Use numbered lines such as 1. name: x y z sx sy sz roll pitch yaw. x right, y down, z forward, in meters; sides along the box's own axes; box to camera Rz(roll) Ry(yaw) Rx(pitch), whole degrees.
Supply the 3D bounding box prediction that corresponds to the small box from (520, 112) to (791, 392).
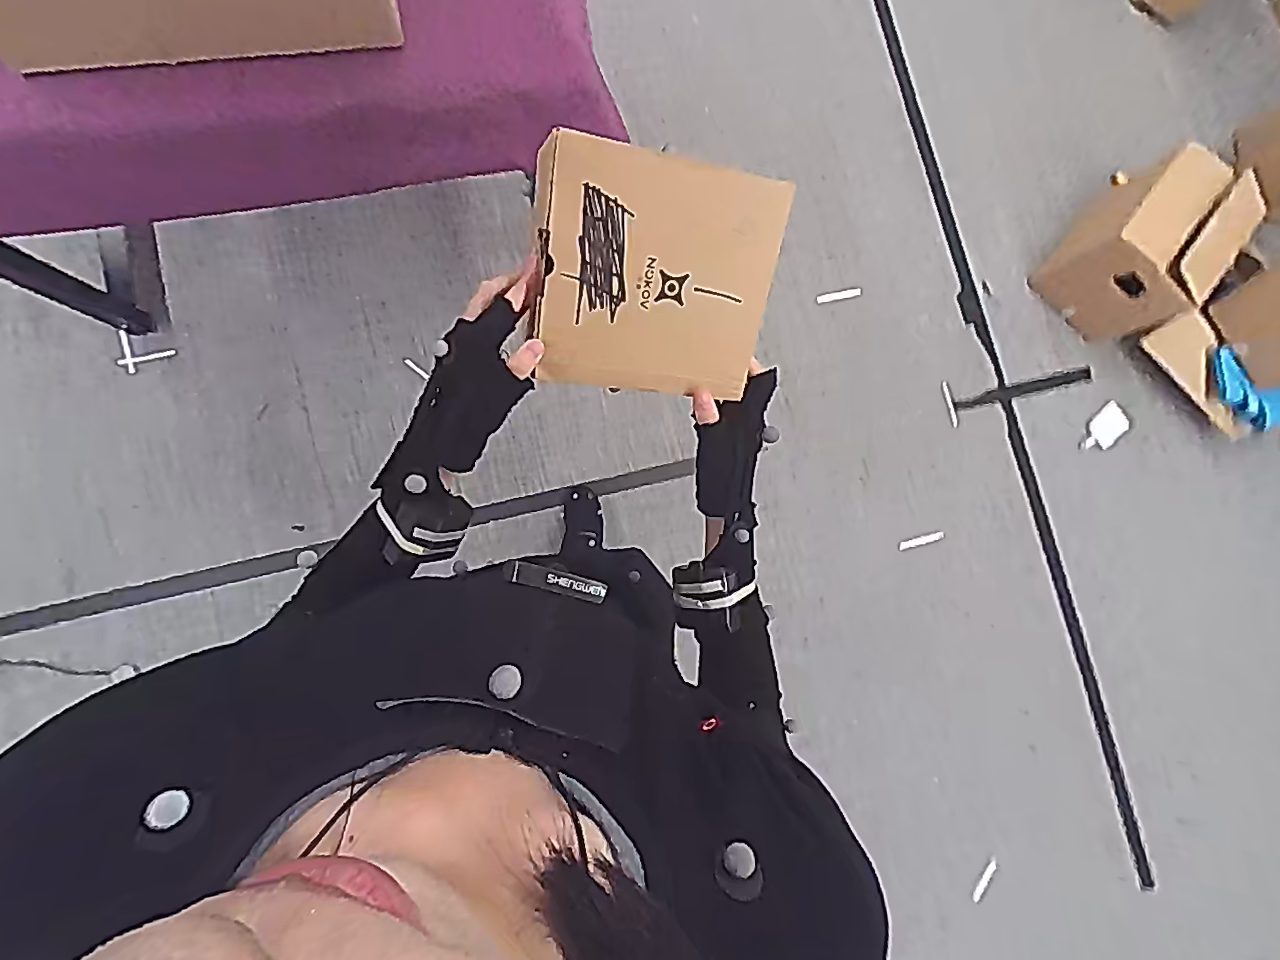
1. small box: -0.007 -0.185 0.461 0.179 0.176 0.168 3 115 -17
